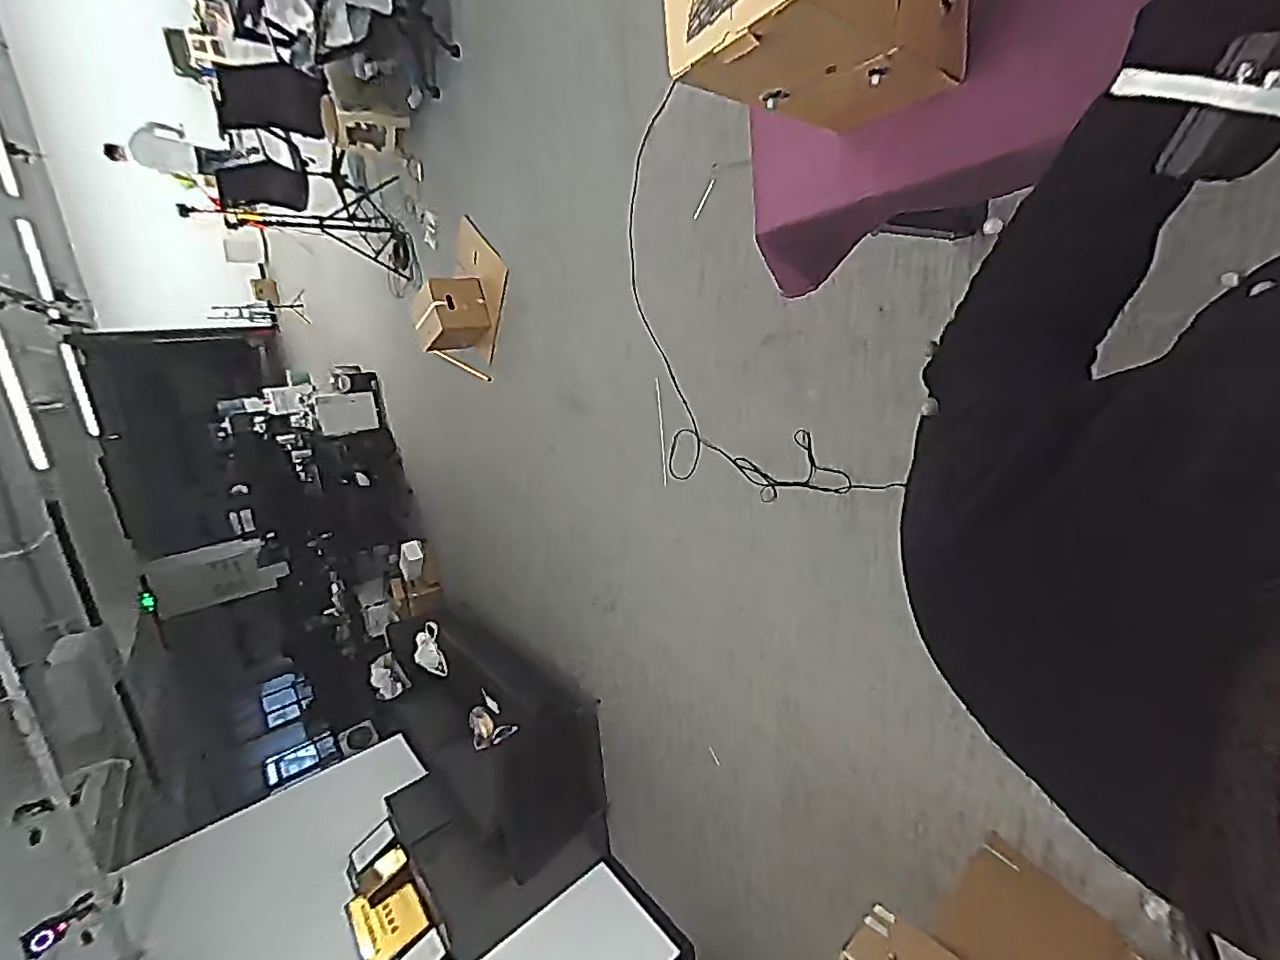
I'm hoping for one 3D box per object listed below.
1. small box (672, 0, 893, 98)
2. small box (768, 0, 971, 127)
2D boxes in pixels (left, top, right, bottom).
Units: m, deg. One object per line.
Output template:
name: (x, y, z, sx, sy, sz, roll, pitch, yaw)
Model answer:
small box: (0.148, -0.532, 0.565, 0.168, 0.176, 0.179, 10, 109, 50)
small box: (0.277, -0.563, 0.663, 0.179, 0.176, 0.168, 11, 111, 50)
